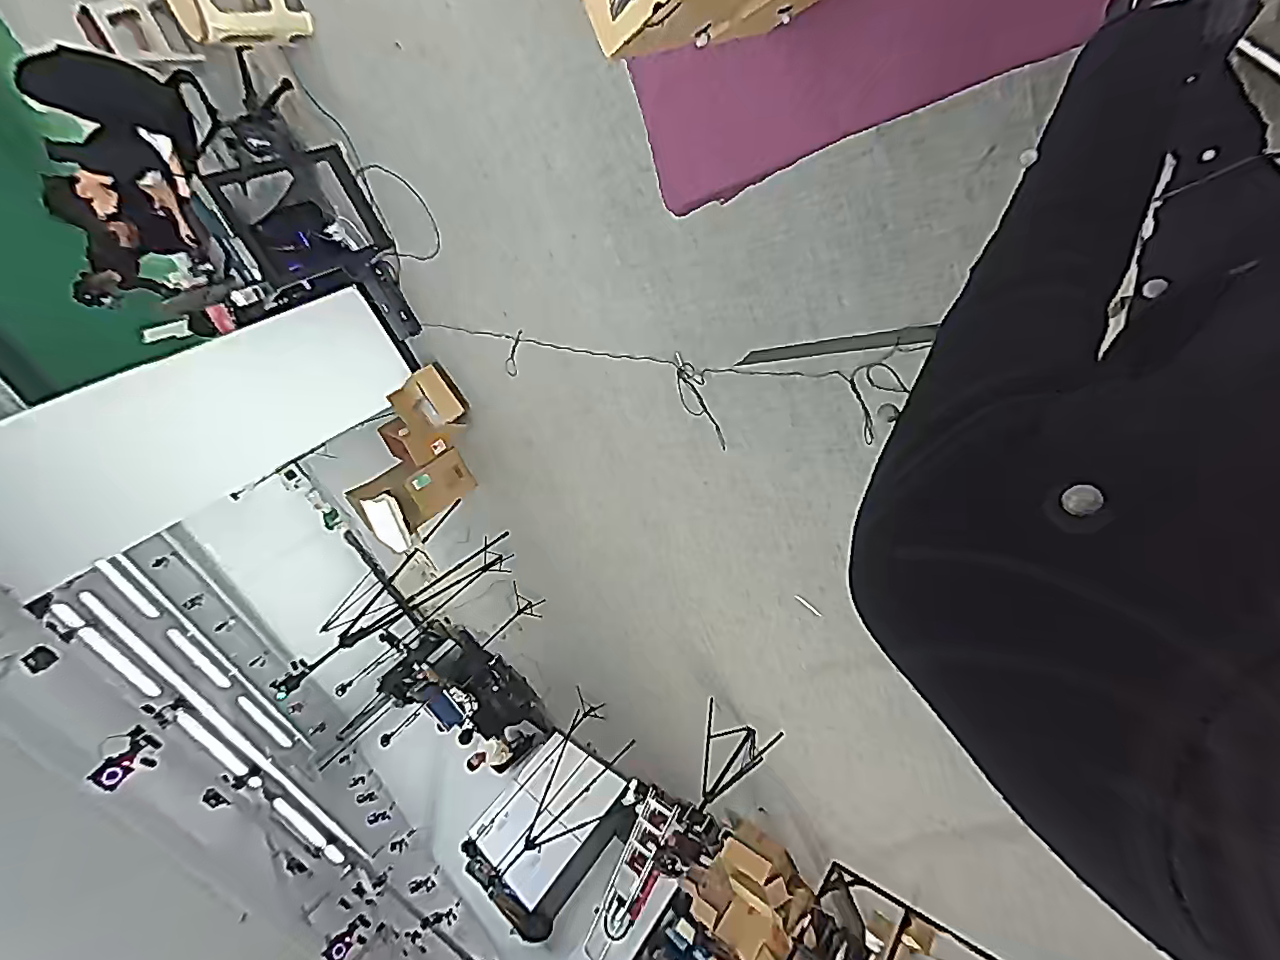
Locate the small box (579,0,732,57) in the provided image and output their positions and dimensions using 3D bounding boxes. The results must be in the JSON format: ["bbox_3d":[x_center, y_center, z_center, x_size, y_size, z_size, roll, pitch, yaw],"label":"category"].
[{"bbox_3d":[0.031,-0.560,0.521,0.168,0.176,0.179,2,125,48],"label":"small box"}]

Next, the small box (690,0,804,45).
[{"bbox_3d":[0.142,-0.643,0.611,0.168,0.176,0.179,7,129,45],"label":"small box"}]
